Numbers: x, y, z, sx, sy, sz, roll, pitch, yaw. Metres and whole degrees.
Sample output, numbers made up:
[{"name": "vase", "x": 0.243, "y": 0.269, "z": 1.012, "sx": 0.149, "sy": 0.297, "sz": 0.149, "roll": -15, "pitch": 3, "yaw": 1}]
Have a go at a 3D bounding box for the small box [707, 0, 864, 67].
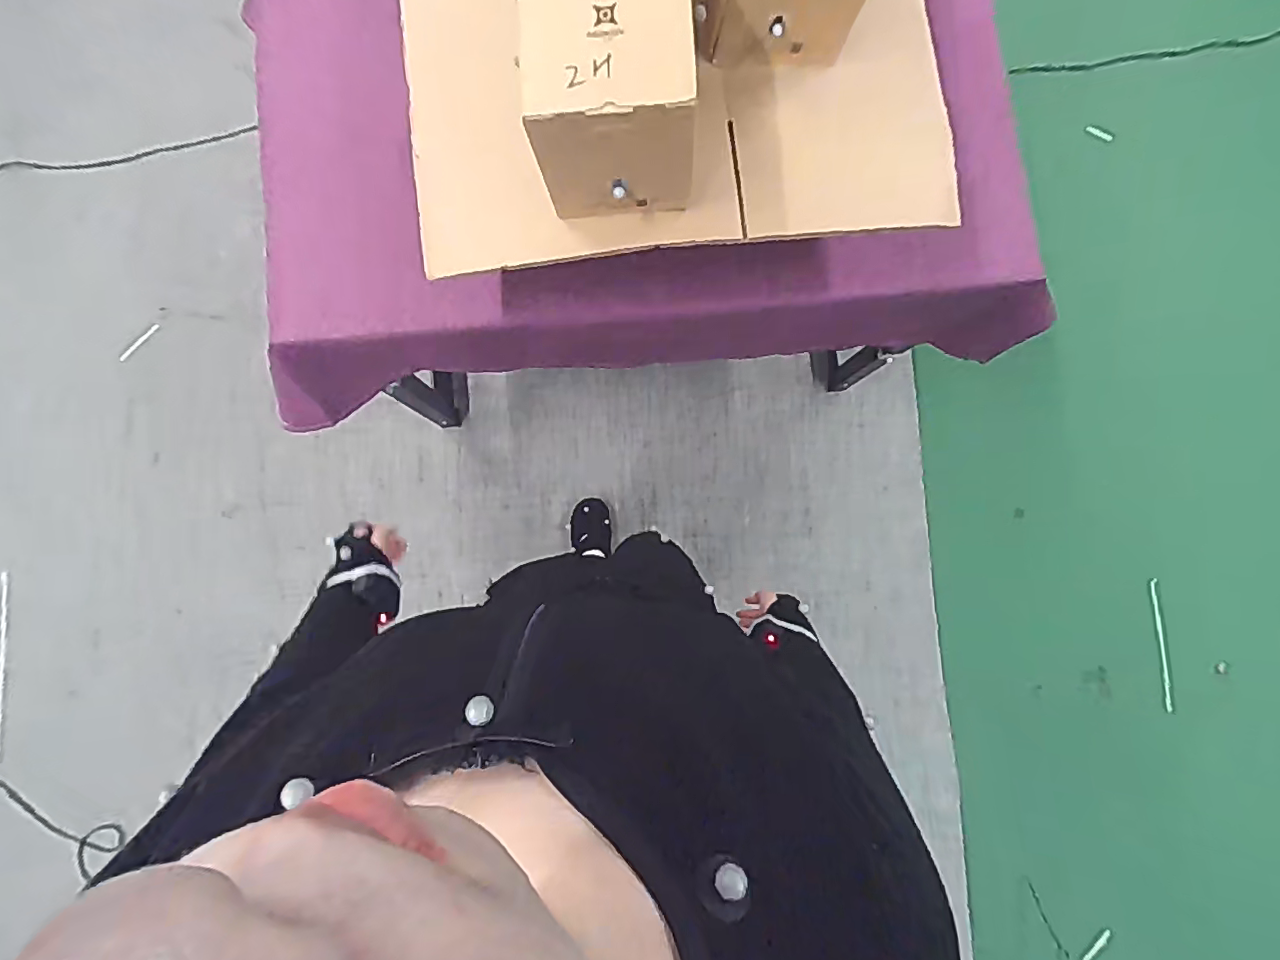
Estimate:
[{"name": "small box", "x": 0.172, "y": -0.628, "z": 0.623, "sx": 0.168, "sy": 0.176, "sz": 0.179, "roll": -4, "pitch": 85, "yaw": -5}]
